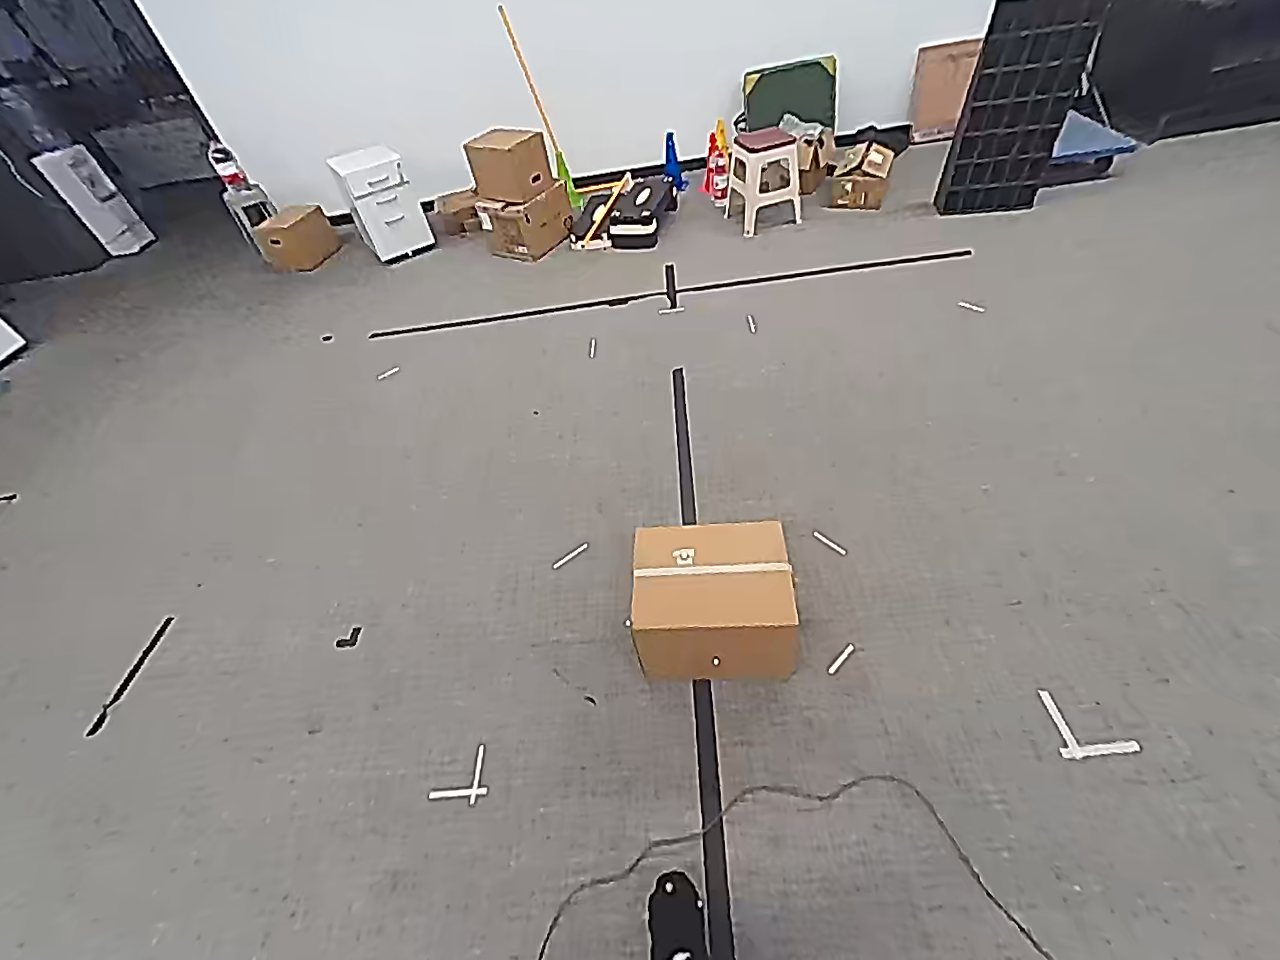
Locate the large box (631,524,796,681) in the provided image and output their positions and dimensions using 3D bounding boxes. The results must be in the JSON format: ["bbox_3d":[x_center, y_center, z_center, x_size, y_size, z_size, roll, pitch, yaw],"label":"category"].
[{"bbox_3d":[0.200,0.348,1.507,0.408,0.320,0.320,-4,46,8],"label":"large box"}]
